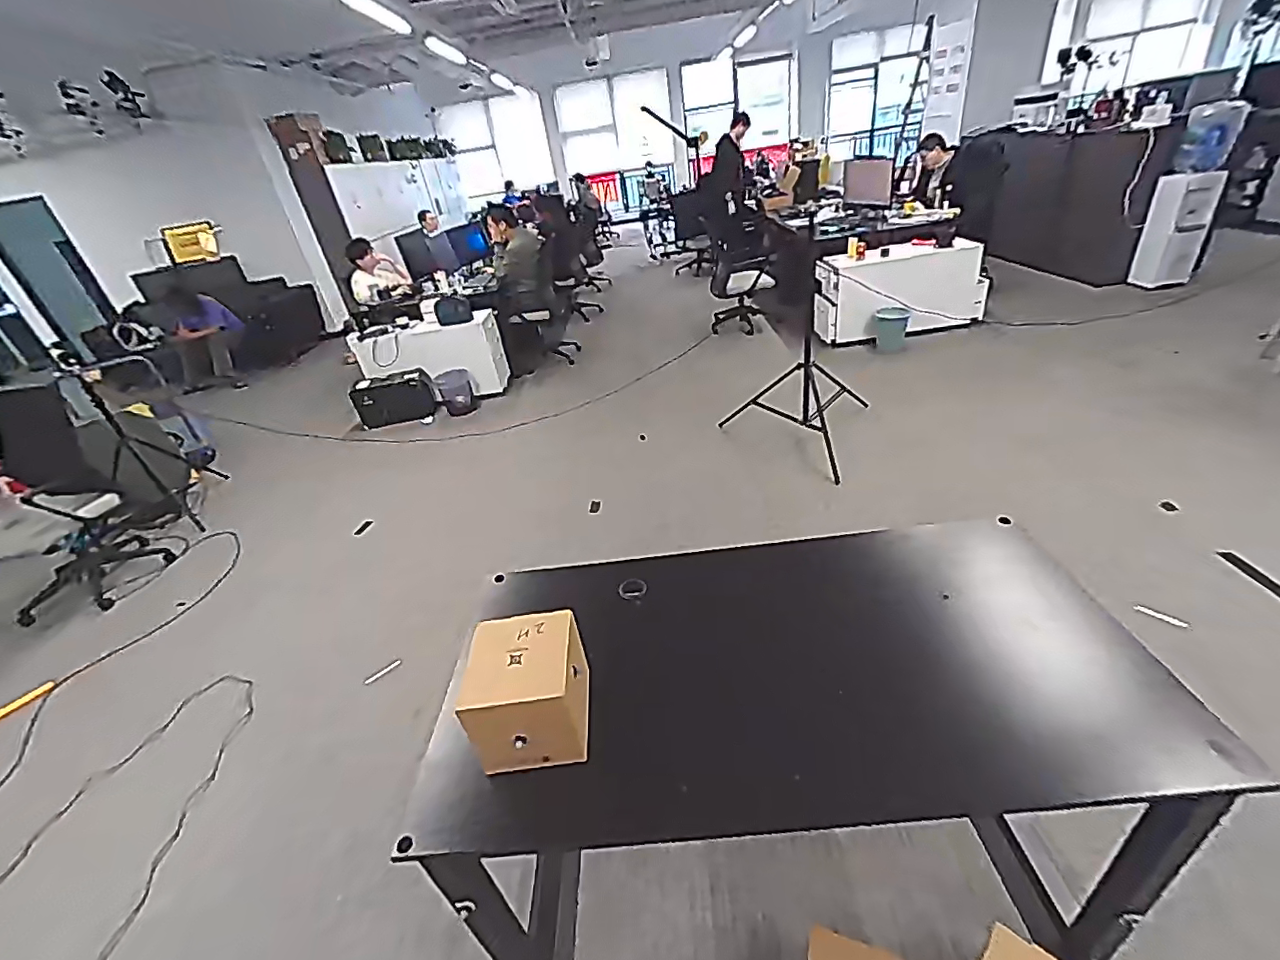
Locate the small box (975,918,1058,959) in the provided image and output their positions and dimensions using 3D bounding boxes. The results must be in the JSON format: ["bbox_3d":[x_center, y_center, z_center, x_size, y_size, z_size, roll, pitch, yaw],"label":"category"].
[{"bbox_3d":[0.711,0.989,1.007,0.168,0.176,0.179,20,43,39],"label":"small box"}]

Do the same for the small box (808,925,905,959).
[{"bbox_3d":[0.413,1.020,1.048,0.179,0.176,0.168,3,33,22],"label":"small box"}]

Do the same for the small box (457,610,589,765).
[{"bbox_3d":[-0.180,0.346,0.895,0.168,0.176,0.179,-8,31,1],"label":"small box"}]
